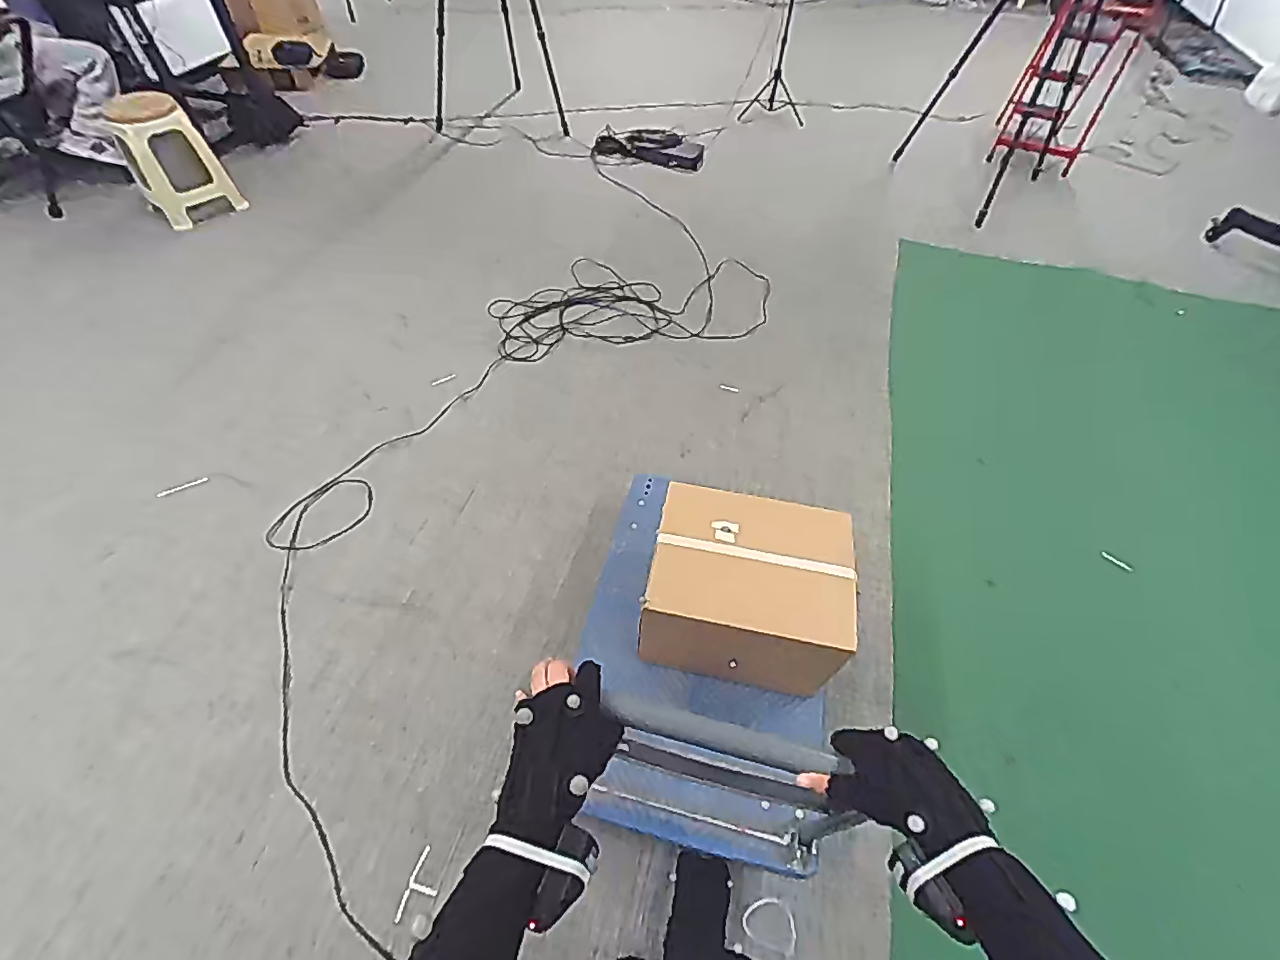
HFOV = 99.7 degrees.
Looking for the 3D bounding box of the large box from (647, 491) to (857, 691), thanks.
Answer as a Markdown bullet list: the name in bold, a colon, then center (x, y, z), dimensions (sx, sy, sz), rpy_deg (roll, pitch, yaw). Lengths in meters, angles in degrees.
- **large box**: center (0.238, 0.258, 1.236), dimensions (0.408, 0.320, 0.320), rpy_deg (9, 53, 6)
